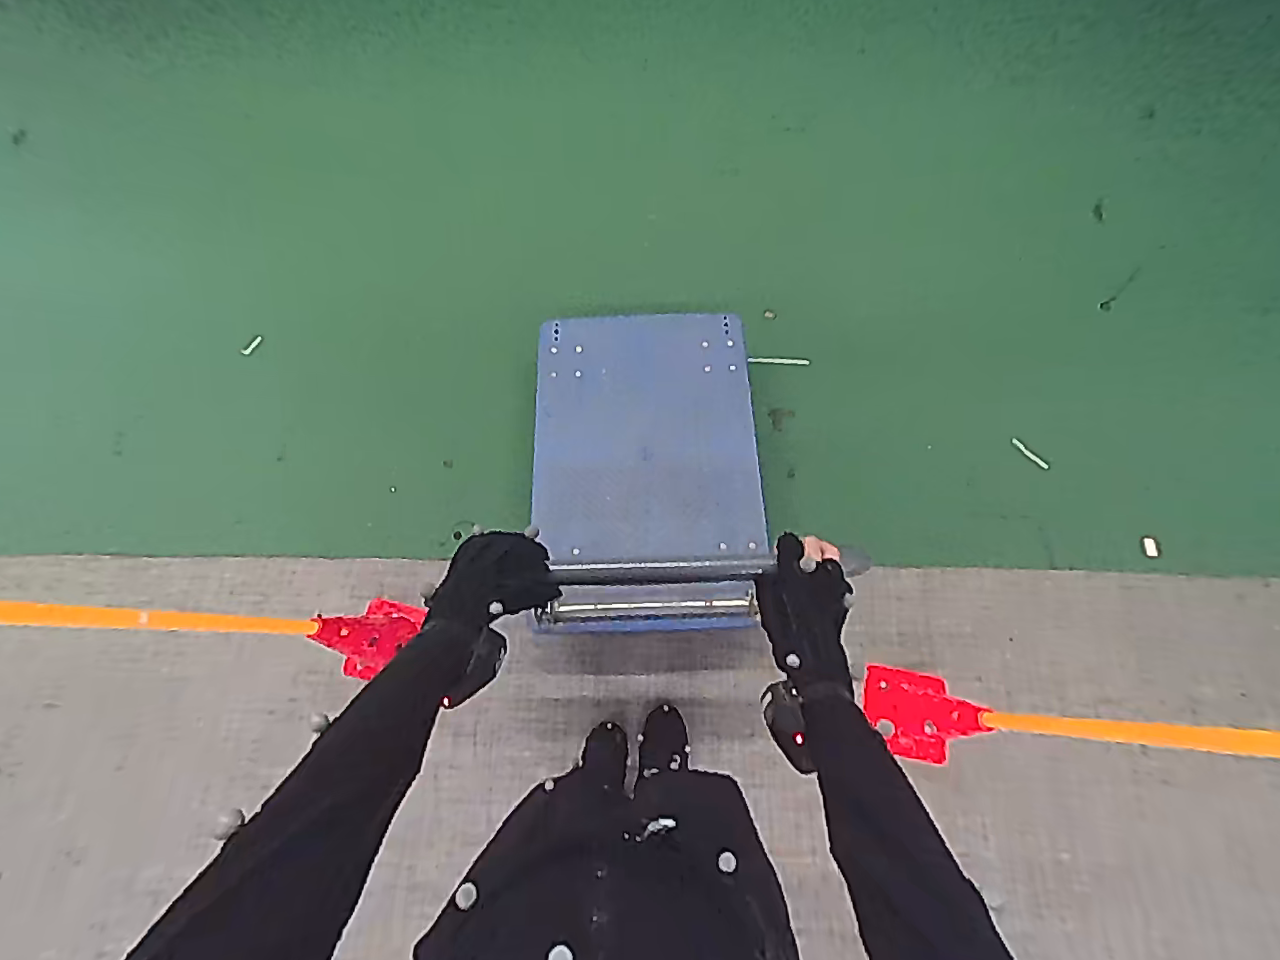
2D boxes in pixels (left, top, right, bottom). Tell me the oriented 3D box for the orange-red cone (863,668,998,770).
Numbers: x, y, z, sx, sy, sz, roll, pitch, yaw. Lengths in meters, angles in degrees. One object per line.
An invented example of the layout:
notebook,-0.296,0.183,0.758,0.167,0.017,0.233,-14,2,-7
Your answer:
orange-red cone,0.637,0.509,1.141,0.198,0.360,0.199,11,70,6
